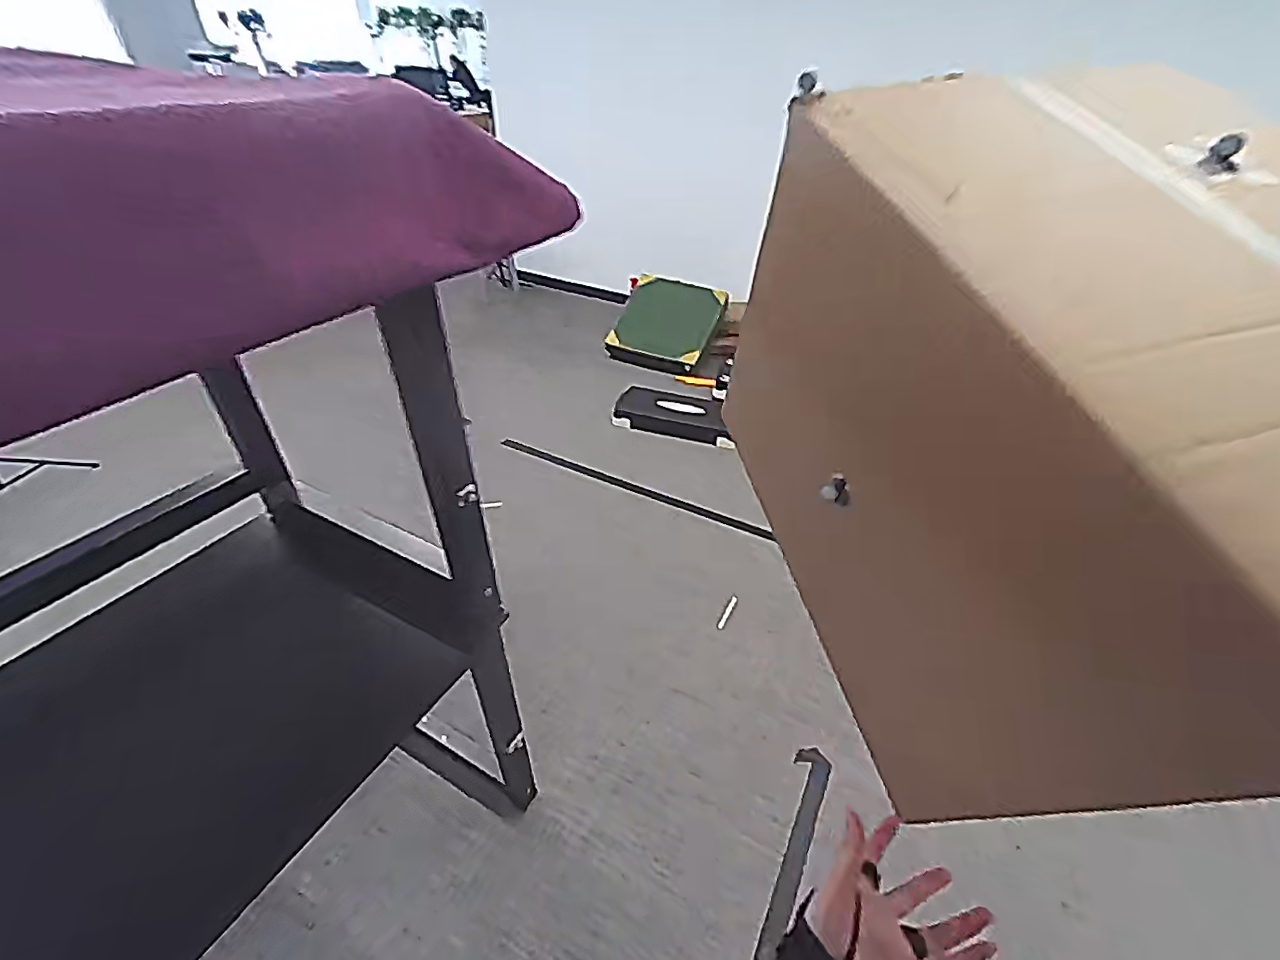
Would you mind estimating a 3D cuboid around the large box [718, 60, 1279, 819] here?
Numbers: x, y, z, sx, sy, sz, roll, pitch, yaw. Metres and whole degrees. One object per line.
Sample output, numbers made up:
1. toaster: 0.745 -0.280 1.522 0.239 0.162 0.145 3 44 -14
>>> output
1. large box: 0.283 -0.034 0.389 0.320 0.320 0.408 -11 57 -11
